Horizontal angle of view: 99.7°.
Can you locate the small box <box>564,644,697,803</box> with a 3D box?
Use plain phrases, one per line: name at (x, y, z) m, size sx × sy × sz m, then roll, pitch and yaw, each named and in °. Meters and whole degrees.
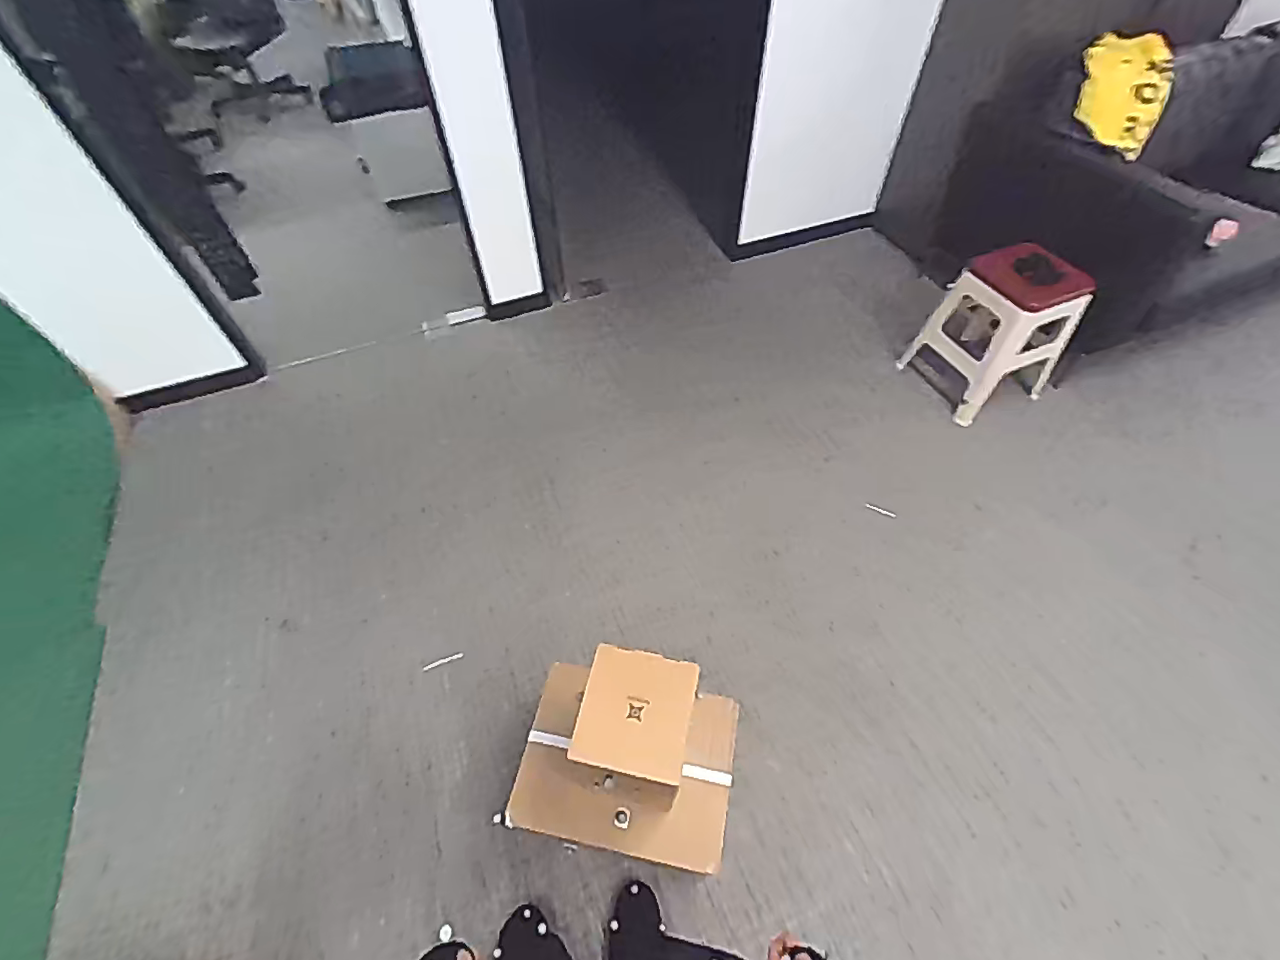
small box at (-0.008, 0.391, 0.859) m, size 0.168 × 0.176 × 0.179 m, roll 10°, pitch 51°, yaw 8°
